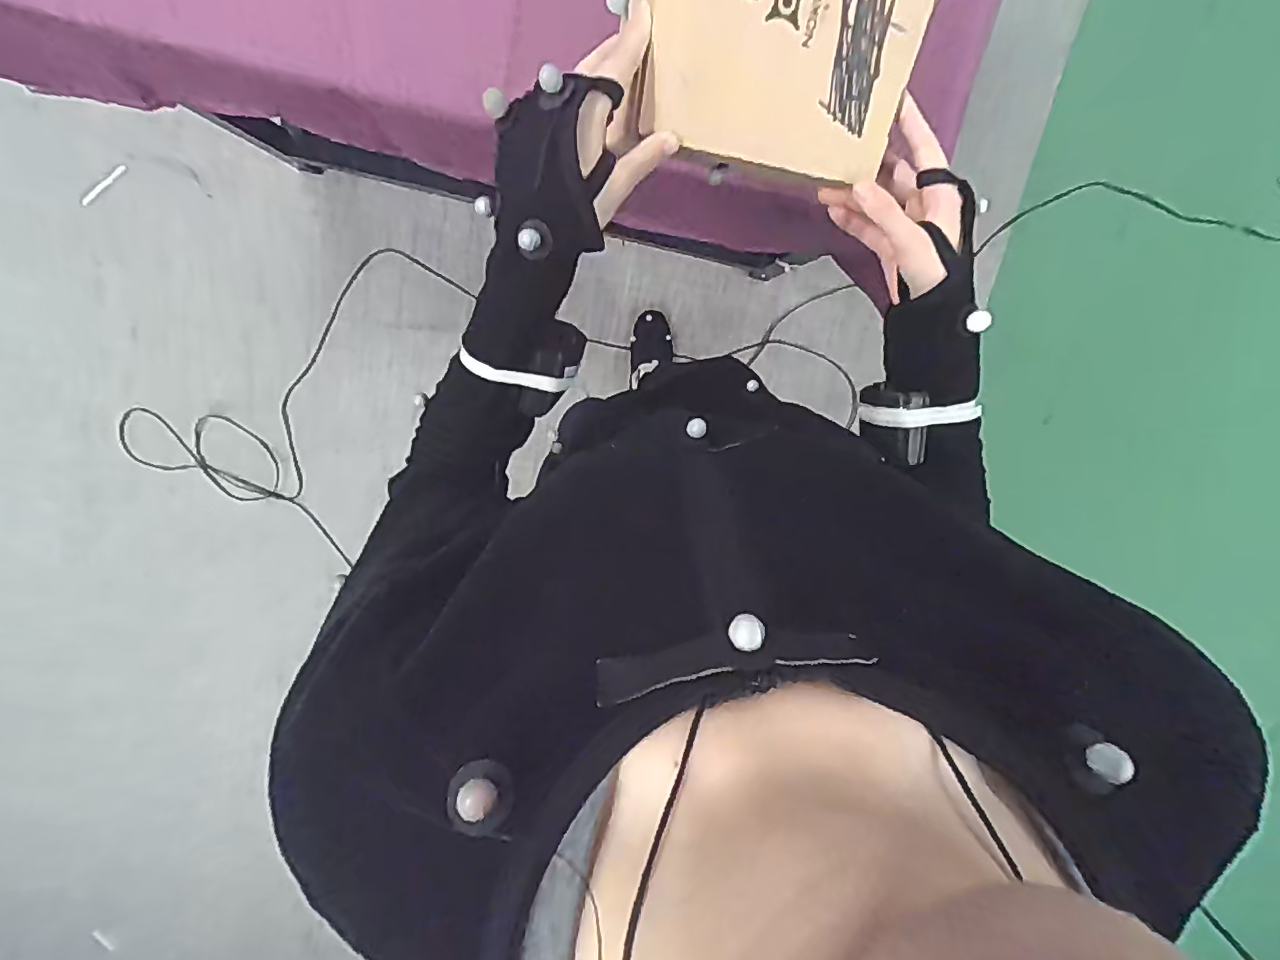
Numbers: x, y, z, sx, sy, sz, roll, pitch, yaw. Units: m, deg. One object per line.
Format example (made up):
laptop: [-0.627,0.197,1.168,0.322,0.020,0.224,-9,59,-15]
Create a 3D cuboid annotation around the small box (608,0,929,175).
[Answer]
small box: [0.081,-0.332,0.392,0.179,0.176,0.168,5,118,-12]
